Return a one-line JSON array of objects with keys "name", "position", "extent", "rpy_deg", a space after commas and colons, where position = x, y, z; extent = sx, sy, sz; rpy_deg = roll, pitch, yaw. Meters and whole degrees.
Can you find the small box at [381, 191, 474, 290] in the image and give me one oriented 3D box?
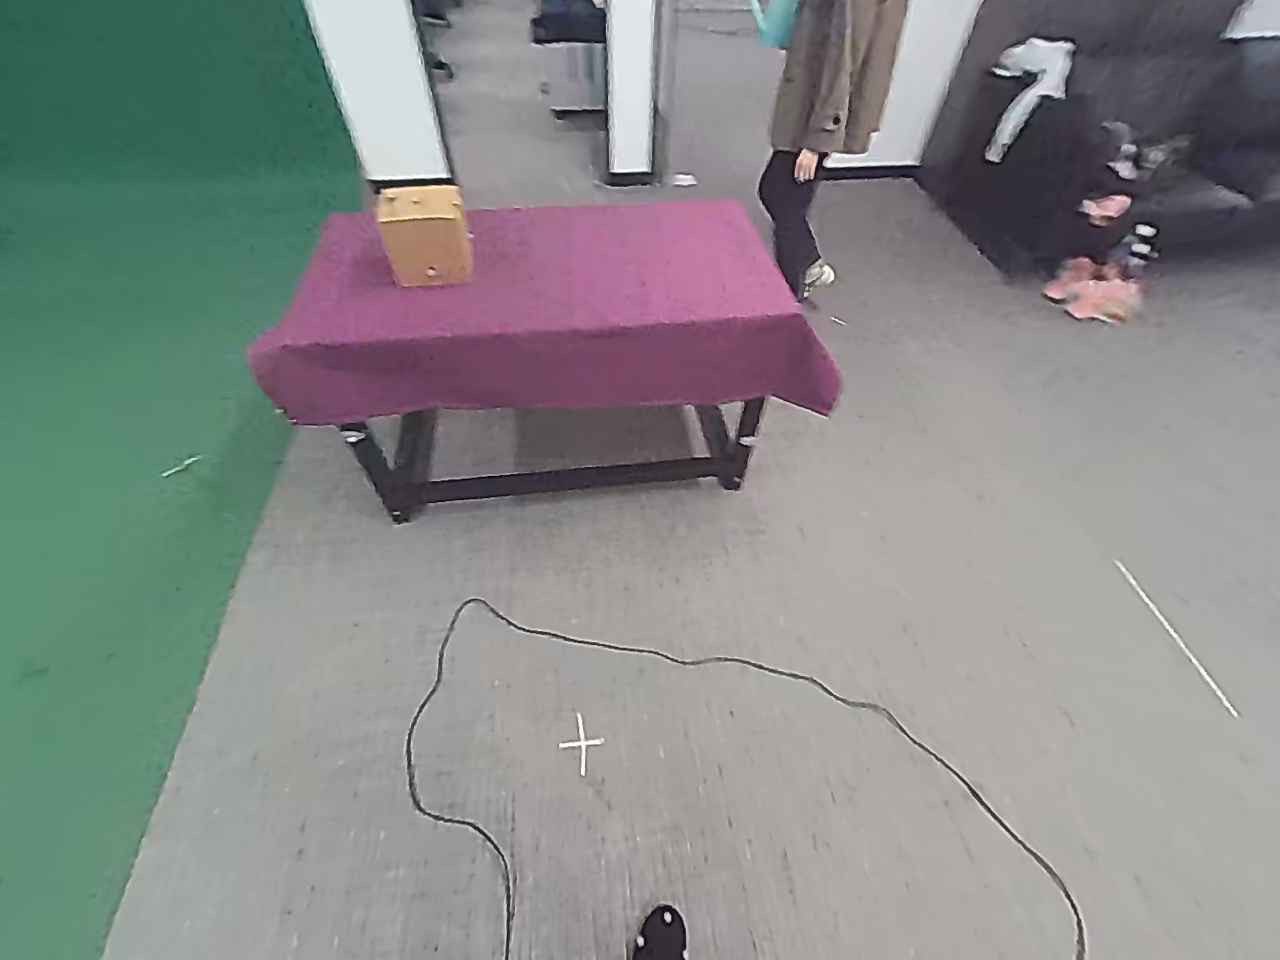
[{"name": "small box", "position": [-0.515, -0.591, 1.339], "extent": [0.179, 0.176, 0.168], "rpy_deg": [-7, 52, -7]}]
